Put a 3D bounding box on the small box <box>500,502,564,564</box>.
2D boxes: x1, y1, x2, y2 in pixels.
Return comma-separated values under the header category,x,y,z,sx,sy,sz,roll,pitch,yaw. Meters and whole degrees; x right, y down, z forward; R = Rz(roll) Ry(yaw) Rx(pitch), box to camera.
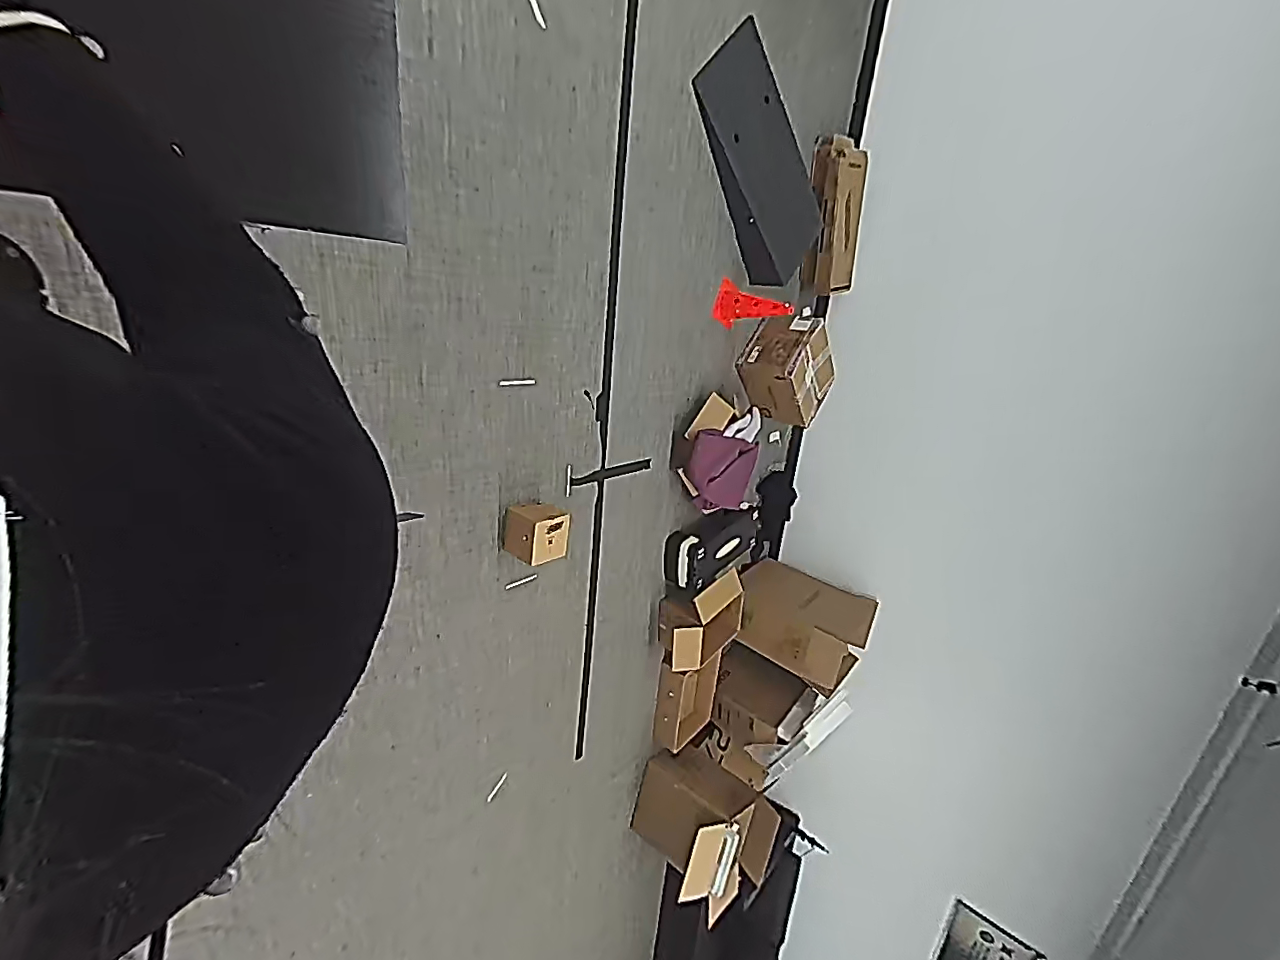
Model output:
category,x,y,z,sx,sy,sz,roll,pitch,yaw
small box,-0.406,0.190,2.024,0.168,0.176,0.179,-12,117,-49
